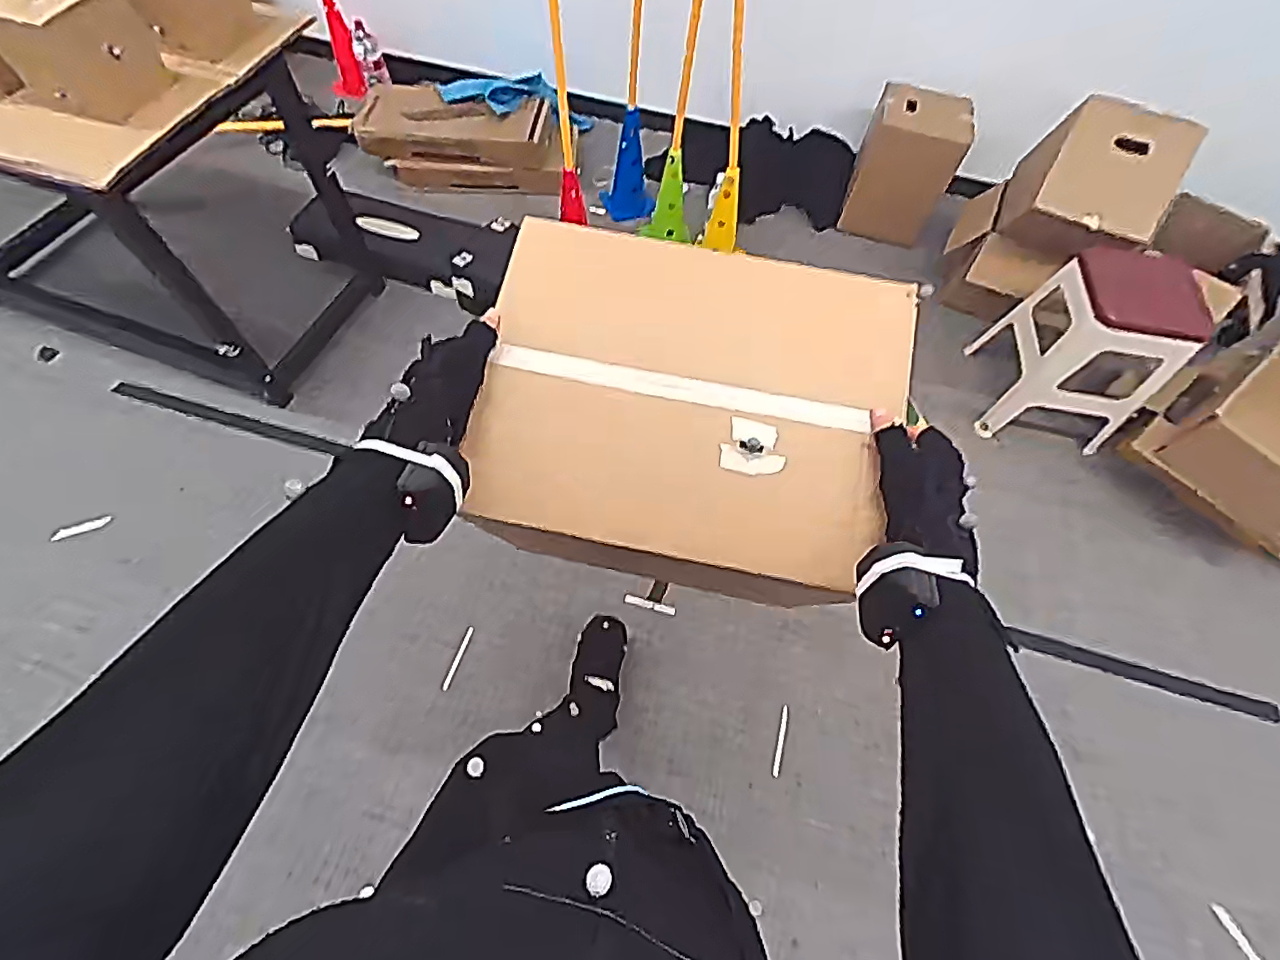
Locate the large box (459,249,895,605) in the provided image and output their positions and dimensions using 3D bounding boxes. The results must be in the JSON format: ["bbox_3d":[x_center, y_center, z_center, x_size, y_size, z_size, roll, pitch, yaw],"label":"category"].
[{"bbox_3d":[0.045,-0.035,0.685,0.408,0.320,0.320,11,77,2],"label":"large box"}]
